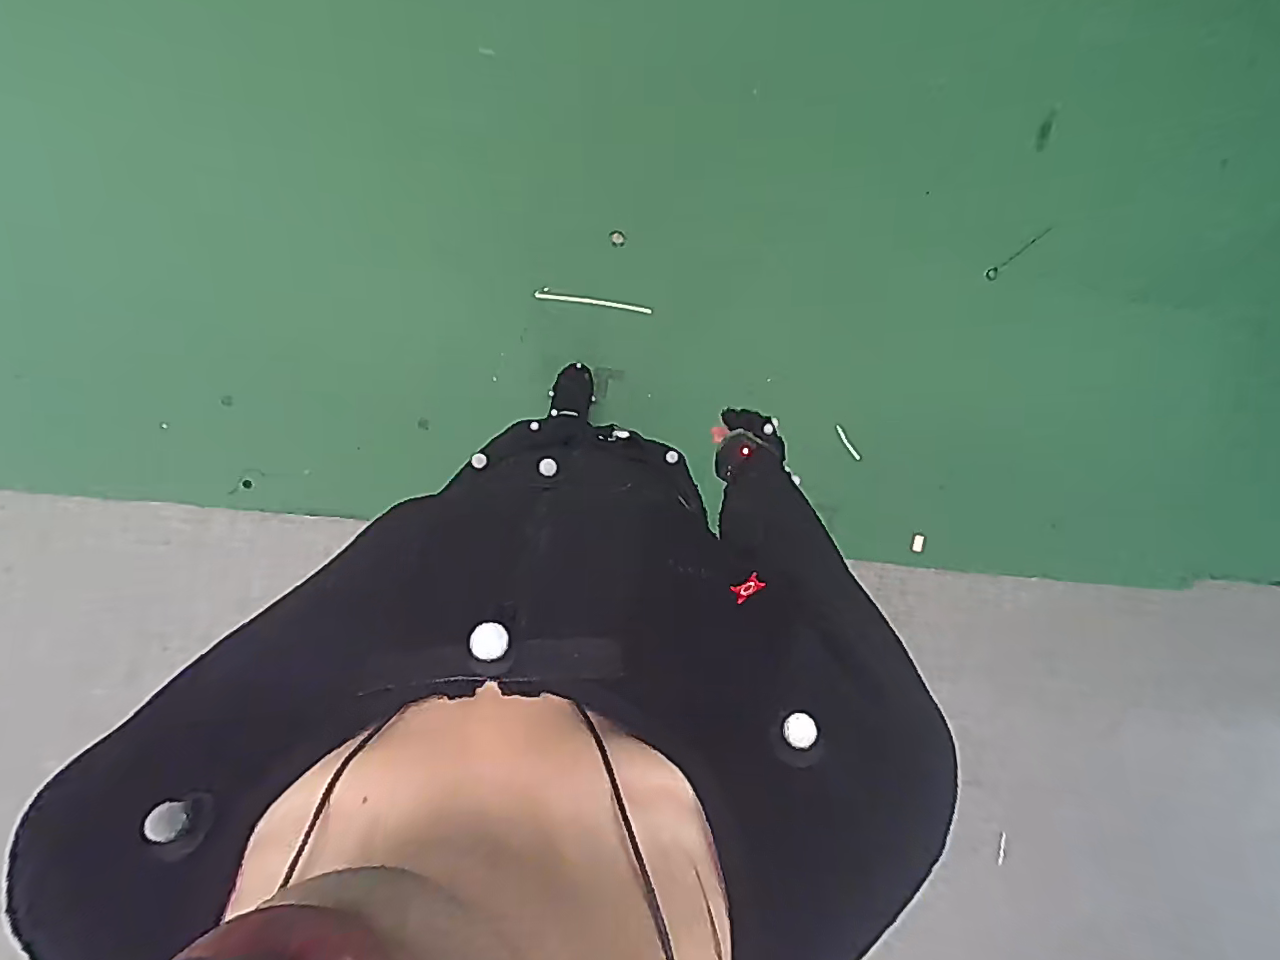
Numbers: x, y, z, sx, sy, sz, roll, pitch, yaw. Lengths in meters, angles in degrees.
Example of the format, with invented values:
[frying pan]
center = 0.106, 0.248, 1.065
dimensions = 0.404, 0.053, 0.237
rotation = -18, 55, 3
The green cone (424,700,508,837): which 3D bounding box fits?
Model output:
[green cone]
center = -0.468, 0.735, 1.350
dimensions = 0.200, 0.368, 0.202
rotation = 8, 95, -6
